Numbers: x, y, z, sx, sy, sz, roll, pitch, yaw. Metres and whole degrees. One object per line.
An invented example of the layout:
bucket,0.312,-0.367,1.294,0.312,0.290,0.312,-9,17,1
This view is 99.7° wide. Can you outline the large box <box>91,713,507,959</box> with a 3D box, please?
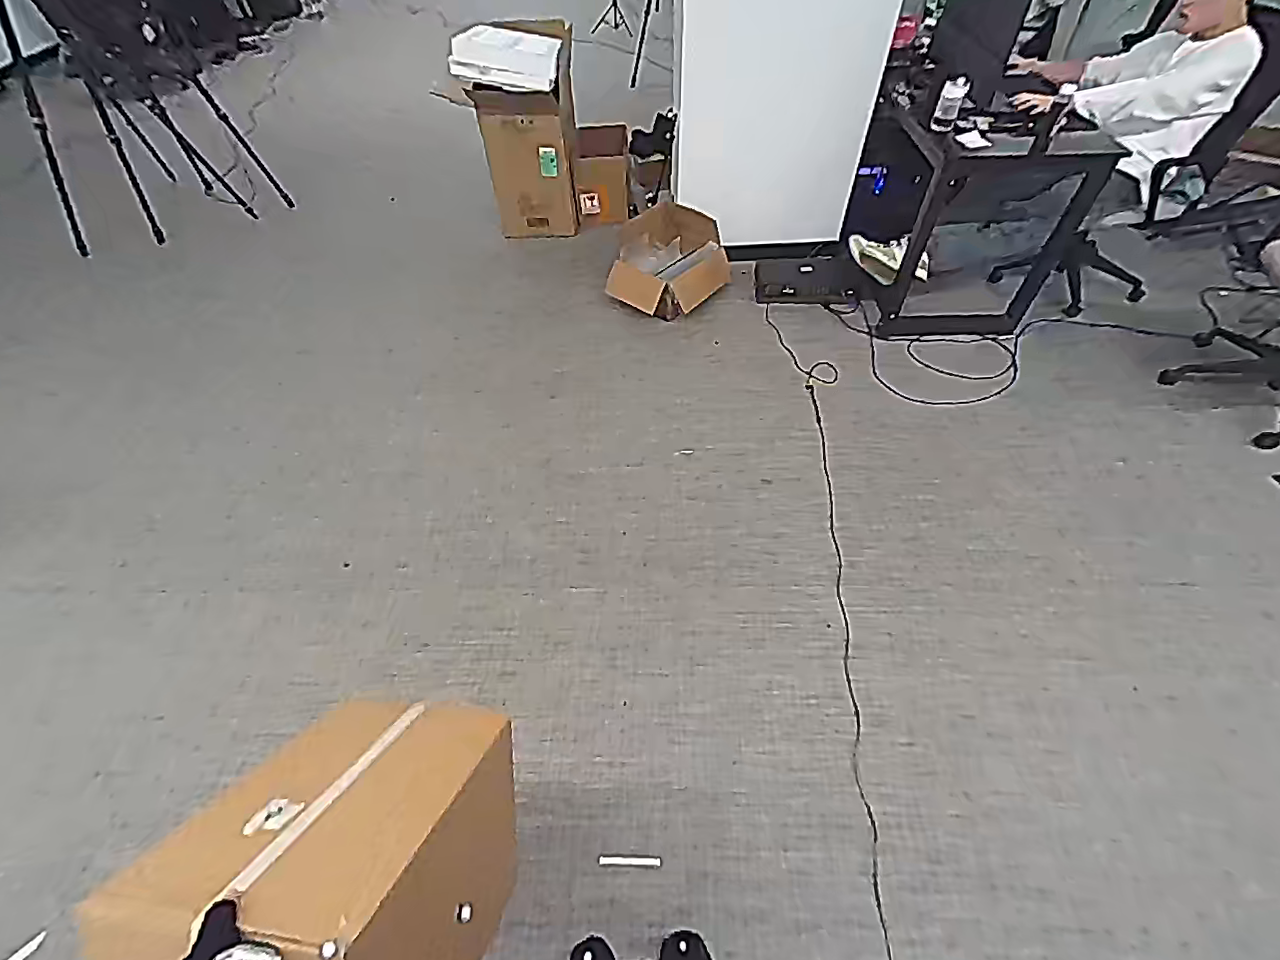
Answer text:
large box,-0.406,0.589,0.759,0.320,0.320,0.408,0,7,10
